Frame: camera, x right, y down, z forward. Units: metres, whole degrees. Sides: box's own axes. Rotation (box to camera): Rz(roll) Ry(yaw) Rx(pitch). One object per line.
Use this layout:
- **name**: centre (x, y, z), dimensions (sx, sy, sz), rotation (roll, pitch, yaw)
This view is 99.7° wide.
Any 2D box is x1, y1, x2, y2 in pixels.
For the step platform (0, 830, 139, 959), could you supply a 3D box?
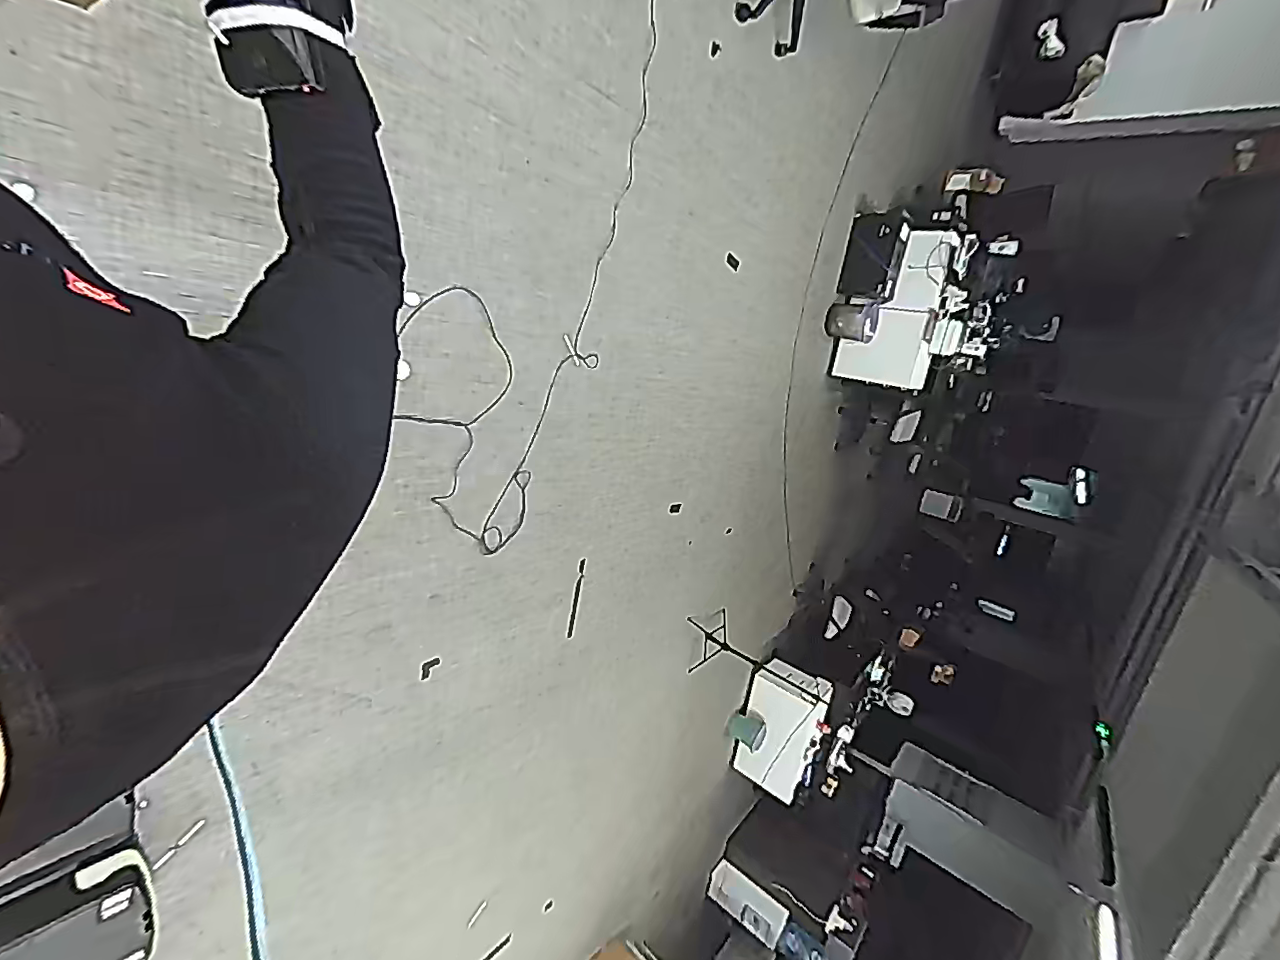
- **step platform**: centre (-1.444, 1.040, 1.057), dimensions (0.684, 0.204, 0.286), rotation (-12, 116, -49)
